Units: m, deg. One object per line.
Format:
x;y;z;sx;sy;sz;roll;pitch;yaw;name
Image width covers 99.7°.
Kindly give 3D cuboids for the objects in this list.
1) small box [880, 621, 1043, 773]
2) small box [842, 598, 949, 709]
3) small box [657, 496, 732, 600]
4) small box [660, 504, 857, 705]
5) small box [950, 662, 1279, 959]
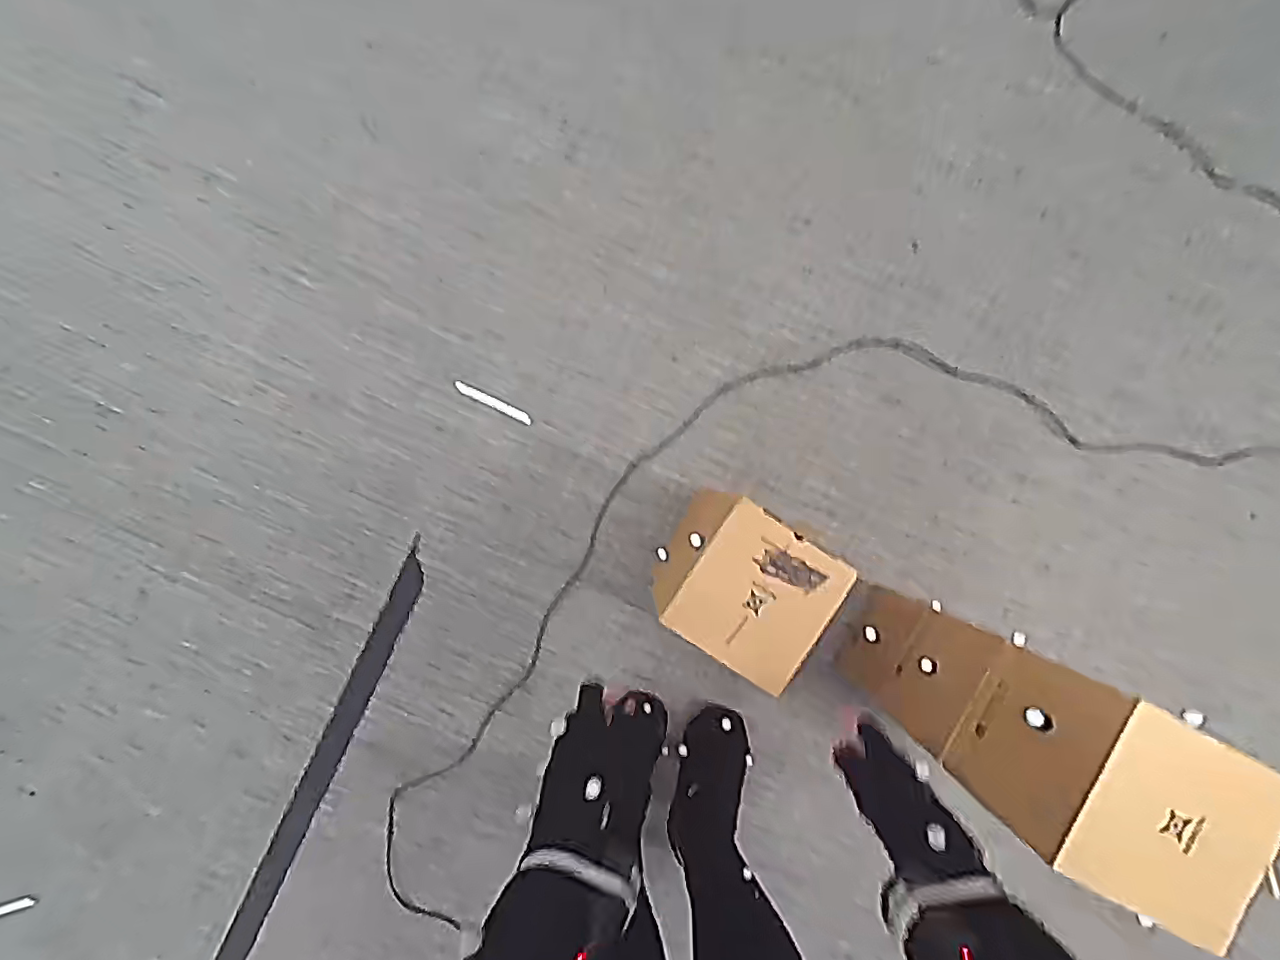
0.454;0.305;0.707;0.179;0.176;0.168;30;90;-2;small box
0.460;0.306;0.872;0.179;0.176;0.168;28;90;-1;small box
0.138;0.140;0.866;0.168;0.176;0.179;31;89;-2;small box
0.136;0.144;0.701;0.168;0.176;0.179;33;90;-1;small box
0.461;0.307;0.544;0.179;0.176;0.168;28;89;-2;small box
